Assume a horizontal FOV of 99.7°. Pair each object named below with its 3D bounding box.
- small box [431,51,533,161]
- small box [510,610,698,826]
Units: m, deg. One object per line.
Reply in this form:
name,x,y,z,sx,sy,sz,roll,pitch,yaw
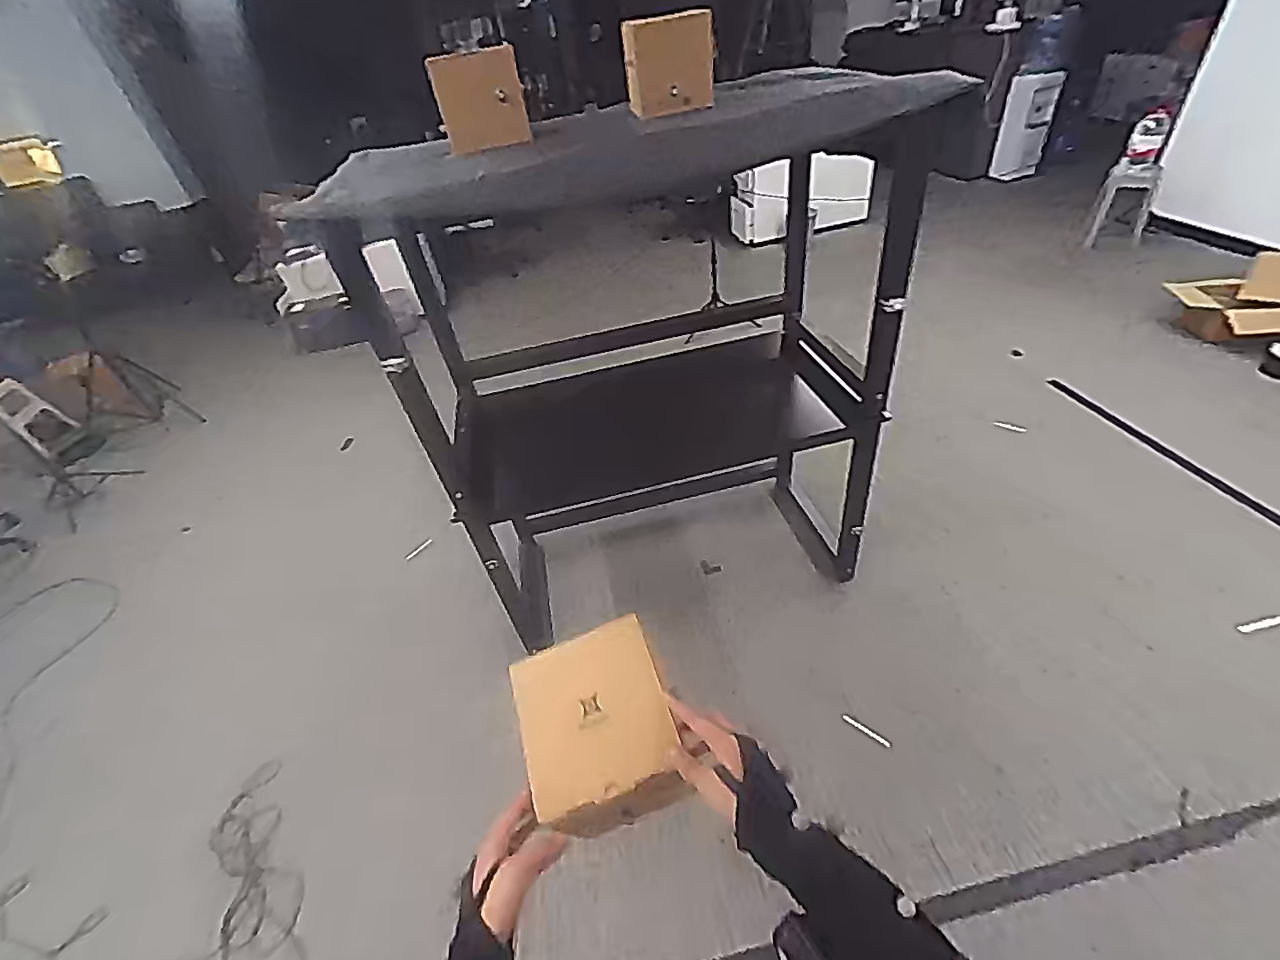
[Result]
small box,-0.340,-0.822,1.186,0.179,0.176,0.168,-15,41,-7
small box,-0.040,0.294,0.663,0.168,0.176,0.179,-22,52,-3
